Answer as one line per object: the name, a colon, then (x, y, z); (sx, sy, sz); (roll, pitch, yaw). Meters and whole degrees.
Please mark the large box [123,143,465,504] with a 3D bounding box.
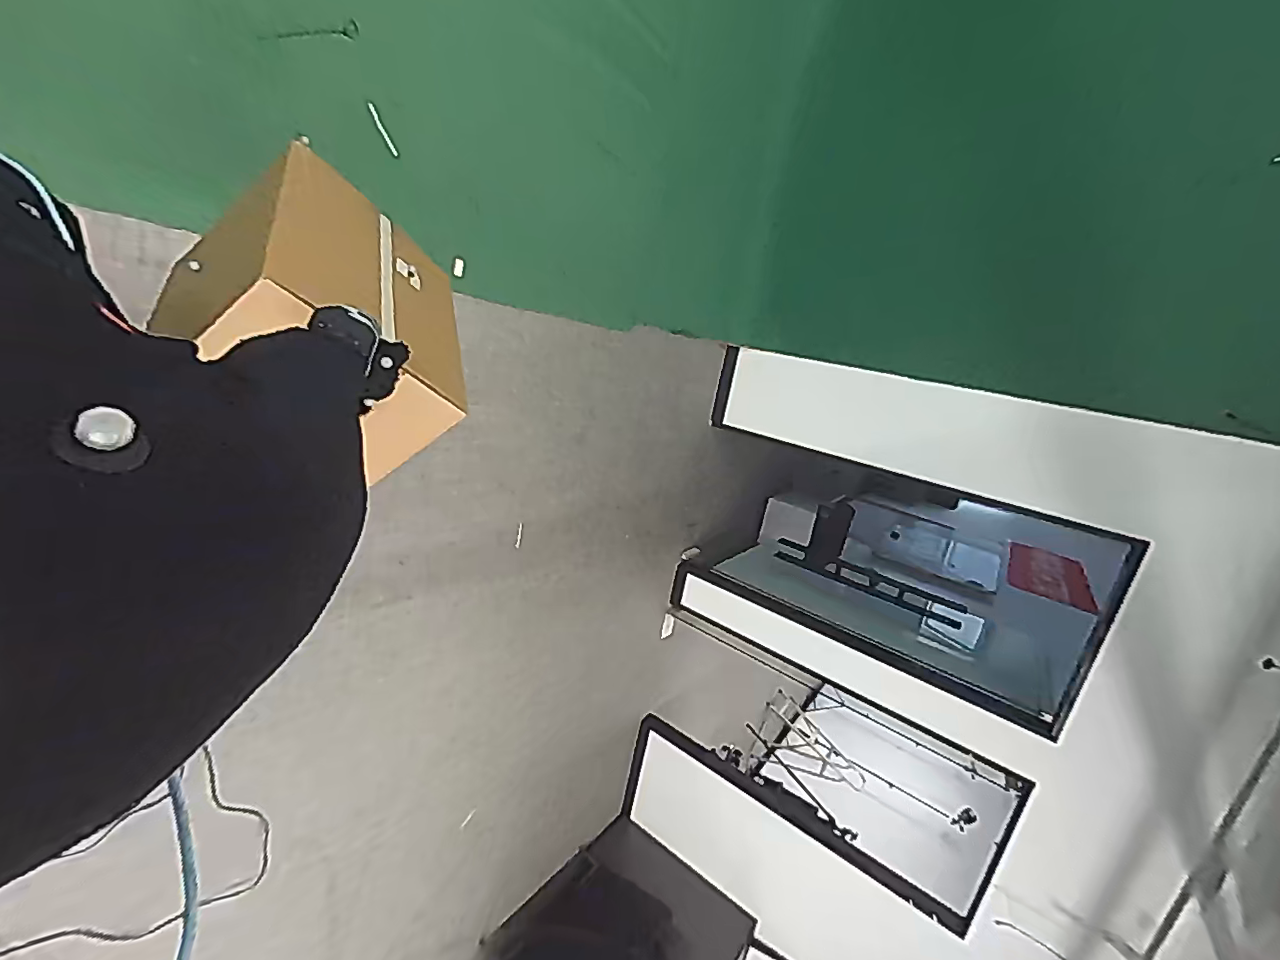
large box: (-0.529, -0.237, 0.879); (0.320, 0.408, 0.320); (-32, 142, 14)
